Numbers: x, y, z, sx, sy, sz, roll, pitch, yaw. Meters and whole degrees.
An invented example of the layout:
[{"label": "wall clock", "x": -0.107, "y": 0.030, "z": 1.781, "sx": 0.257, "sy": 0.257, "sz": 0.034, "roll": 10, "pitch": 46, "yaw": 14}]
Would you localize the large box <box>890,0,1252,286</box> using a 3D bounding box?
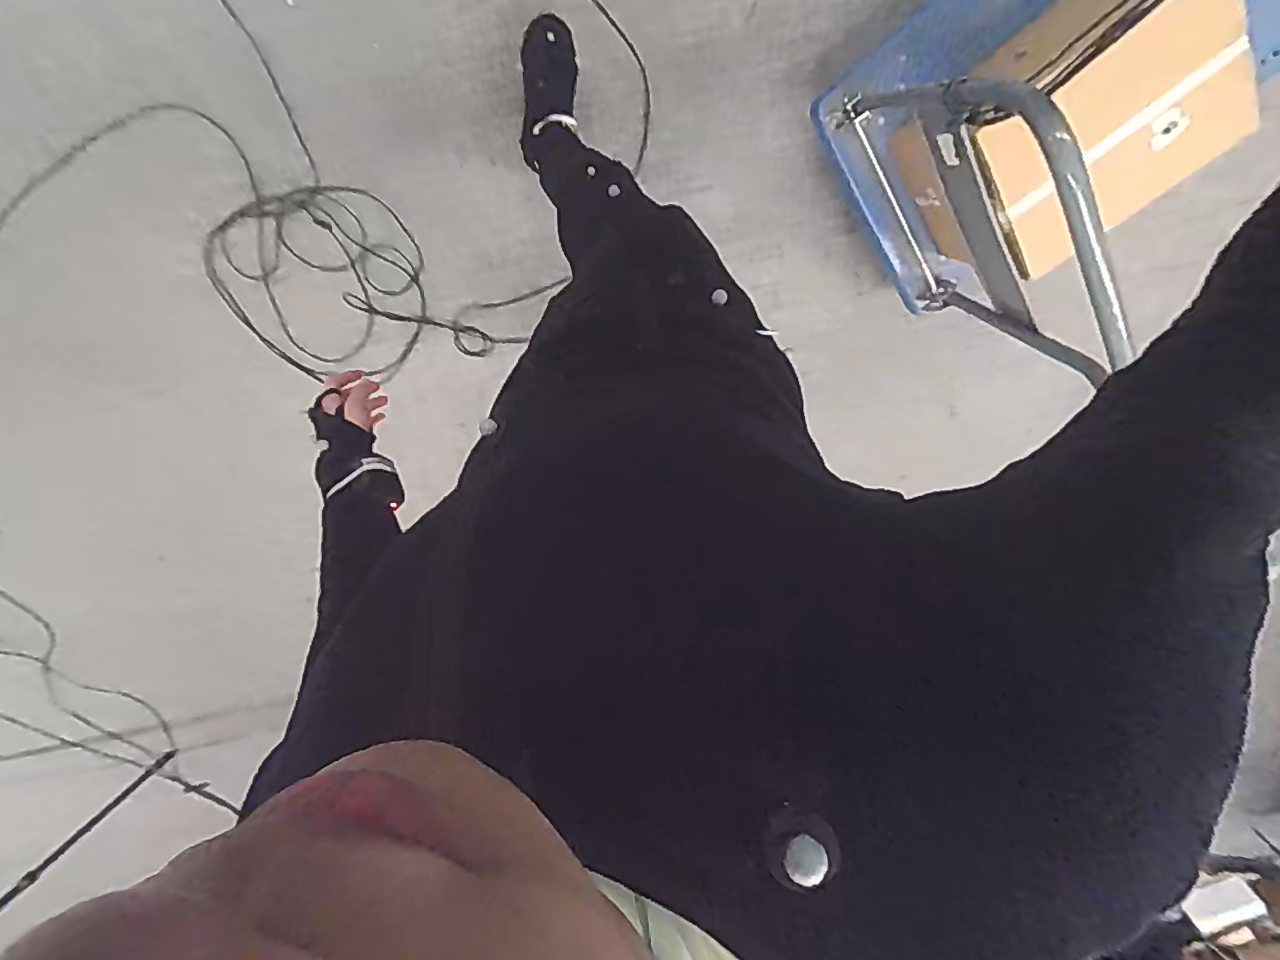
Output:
[{"label": "large box", "x": 0.786, "y": -0.650, "z": 1.038, "sx": 0.408, "sy": 0.320, "sz": 0.320, "roll": -36, "pitch": 118, "yaw": 15}]
